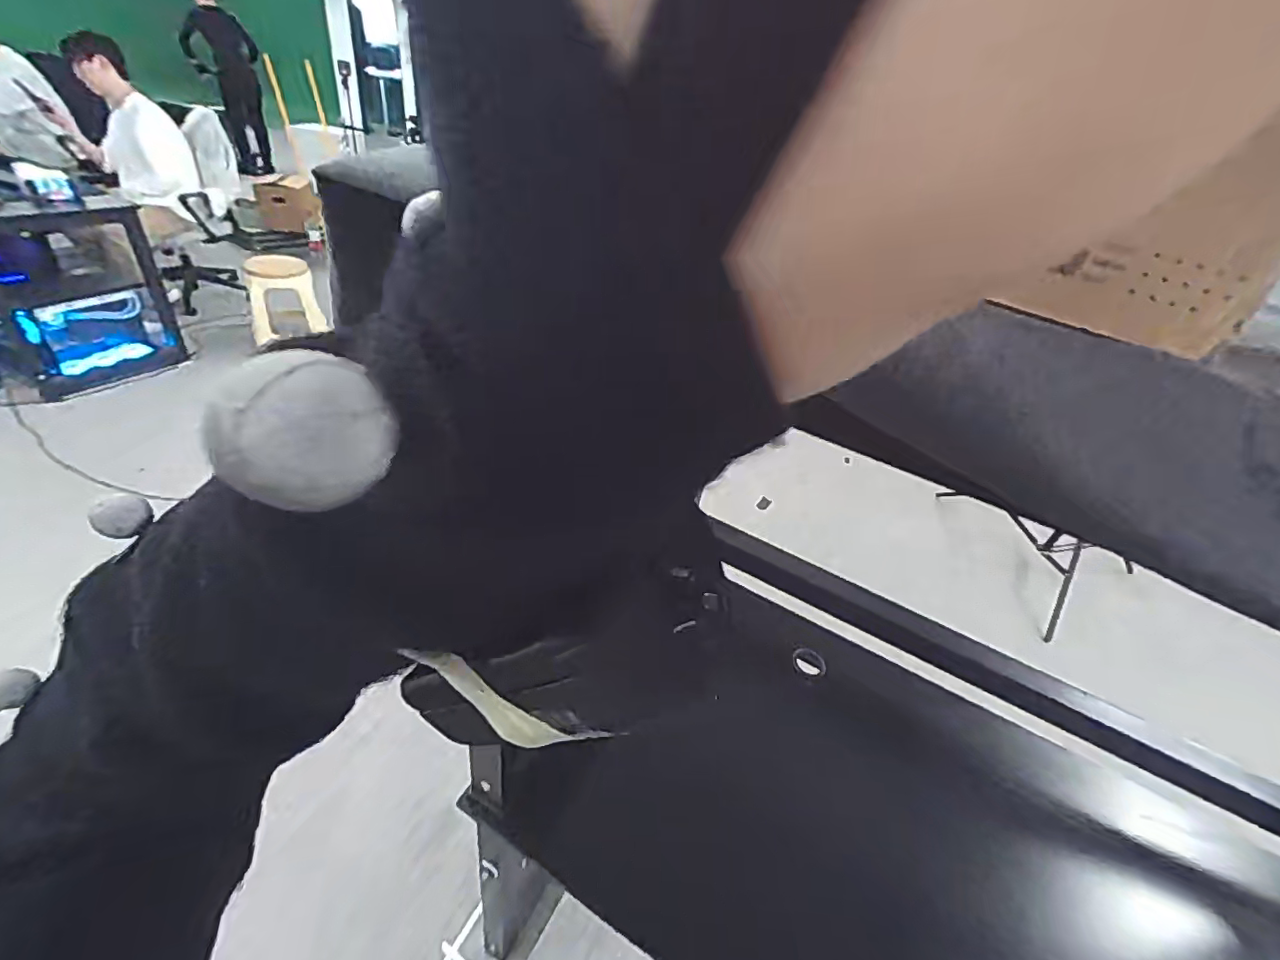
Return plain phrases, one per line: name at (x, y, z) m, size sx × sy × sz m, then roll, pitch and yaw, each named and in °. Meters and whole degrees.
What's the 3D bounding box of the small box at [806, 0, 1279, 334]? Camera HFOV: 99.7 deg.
small box at (0.192, -0.185, 0.237) m, size 0.168 × 0.176 × 0.179 m, roll 25°, pitch 37°, yaw 16°
